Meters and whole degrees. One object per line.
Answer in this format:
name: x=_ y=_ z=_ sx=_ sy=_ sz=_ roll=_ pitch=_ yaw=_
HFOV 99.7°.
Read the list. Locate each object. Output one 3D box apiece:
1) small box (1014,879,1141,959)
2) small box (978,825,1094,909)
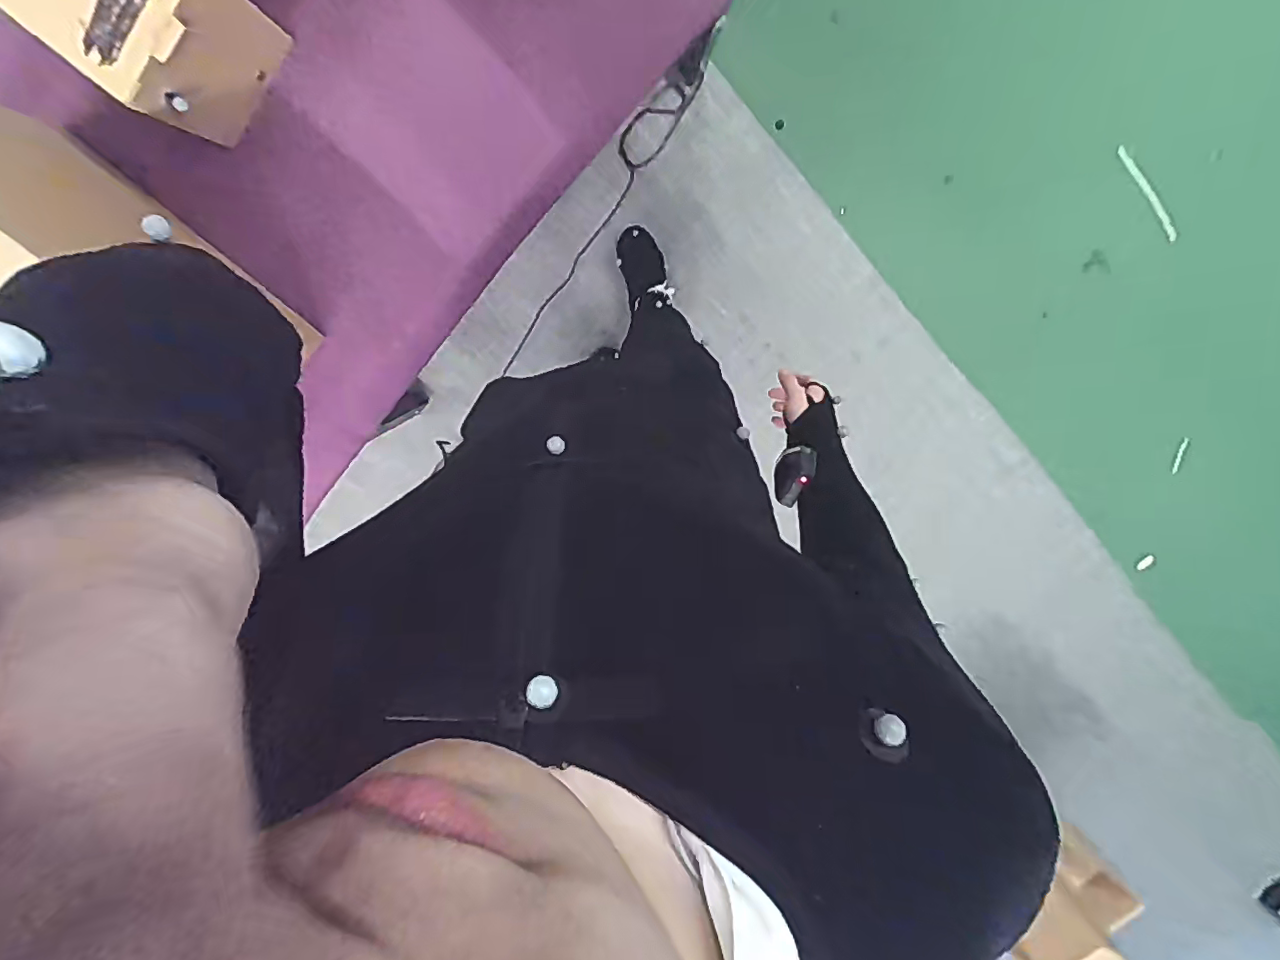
small box: x=1.128 y=1.180 z=1.392 sx=0.179 sy=0.176 sz=0.168 roll=39 pitch=101 yaw=-14
small box: x=1.125 y=1.137 z=1.551 sx=0.179 sy=0.176 sz=0.168 roll=39 pitch=101 yaw=-15
